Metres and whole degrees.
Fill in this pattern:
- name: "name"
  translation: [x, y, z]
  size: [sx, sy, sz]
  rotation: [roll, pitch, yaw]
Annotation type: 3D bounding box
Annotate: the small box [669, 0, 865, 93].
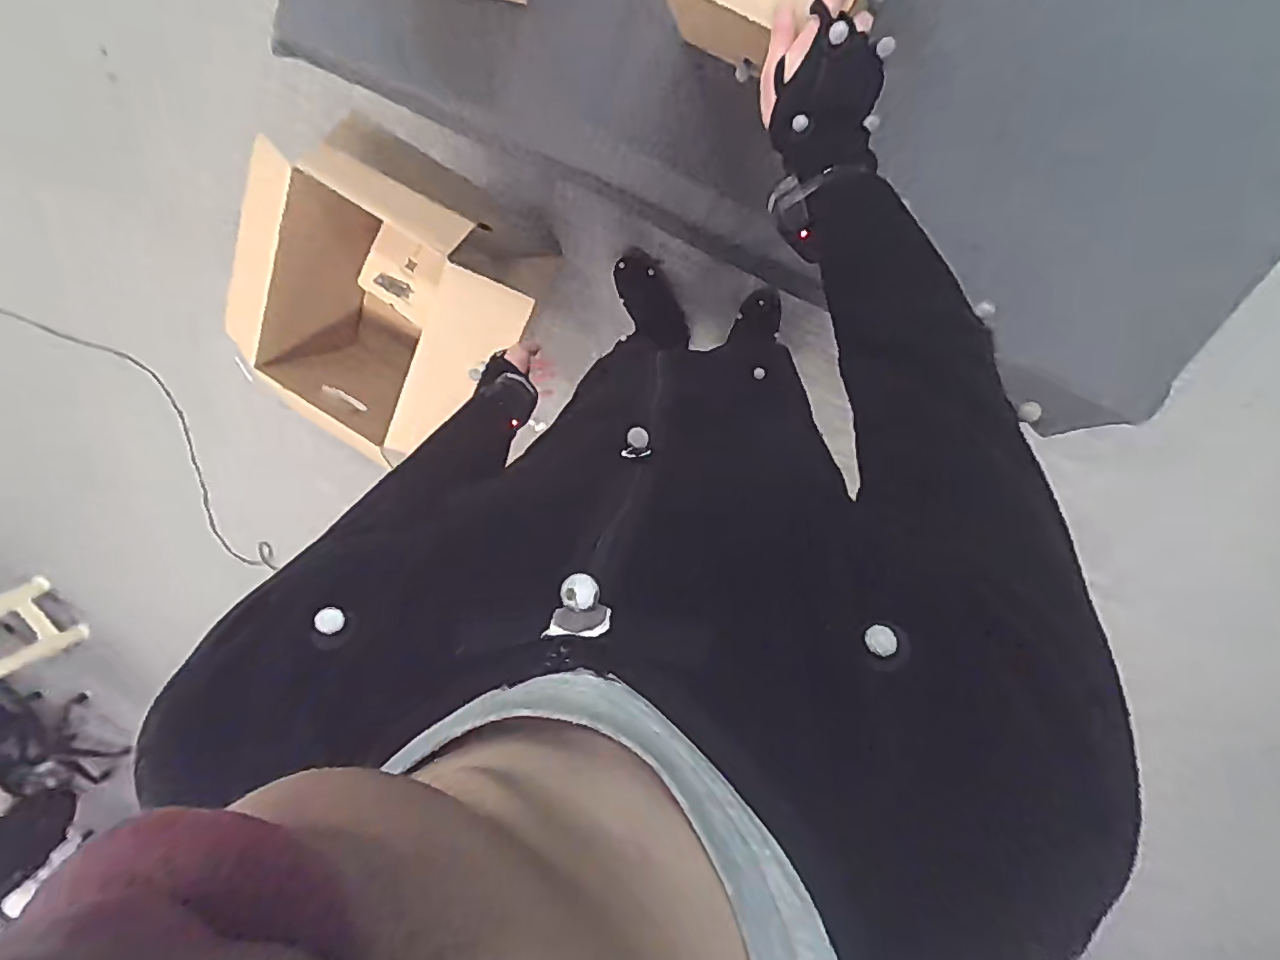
- name: "small box"
  translation: [0.139, -0.503, 0.510]
  size: [0.179, 0.176, 0.168]
  rotation: [28, 115, 1]
